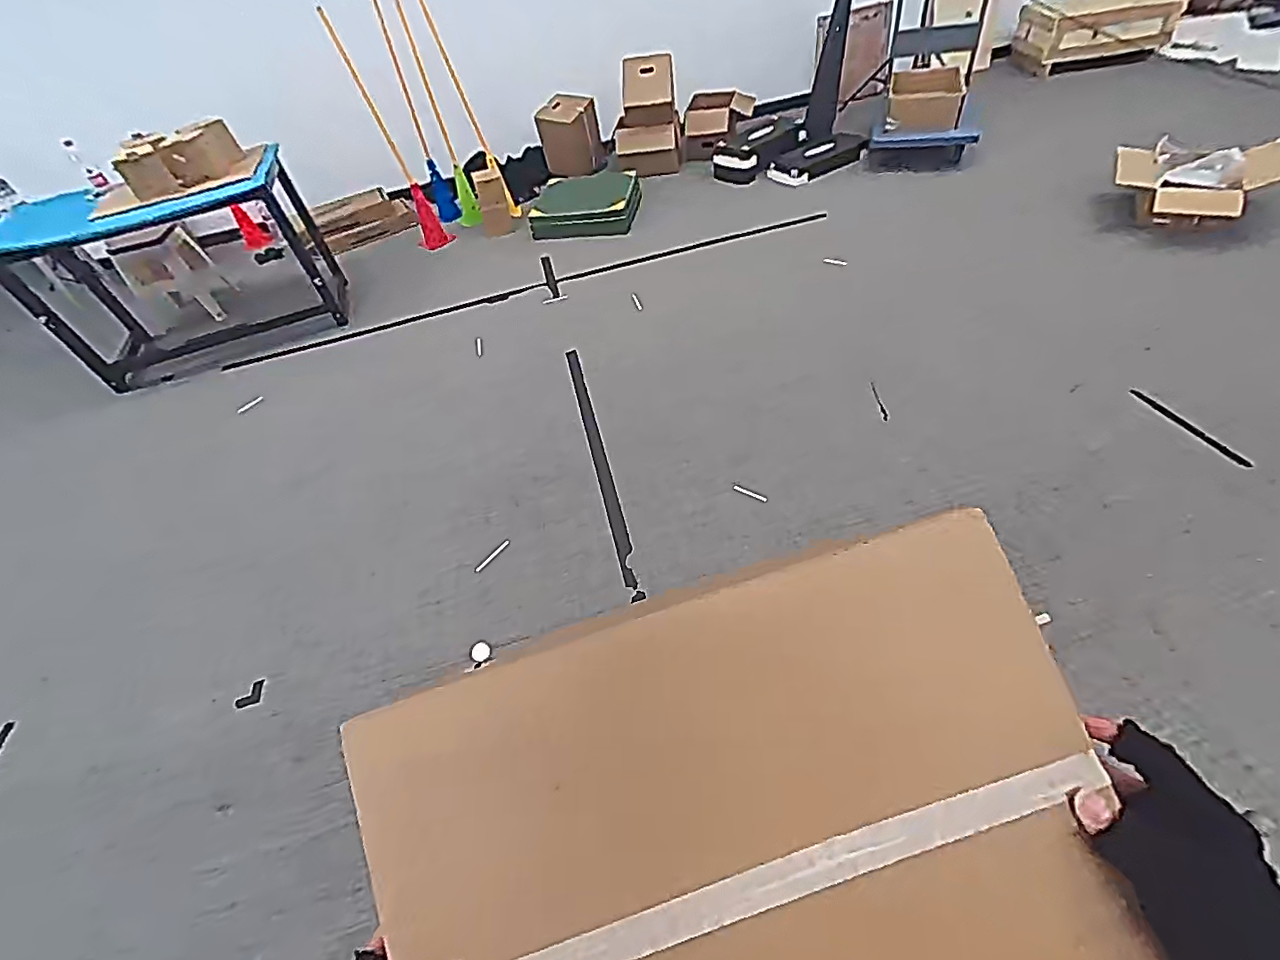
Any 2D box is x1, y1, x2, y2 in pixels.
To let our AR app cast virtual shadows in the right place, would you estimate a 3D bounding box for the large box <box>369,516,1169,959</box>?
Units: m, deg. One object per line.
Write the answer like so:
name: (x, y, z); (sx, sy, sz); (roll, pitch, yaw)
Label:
large box: (0.071, 0.256, 0.455); (0.408, 0.320, 0.320); (-19, 80, -2)
